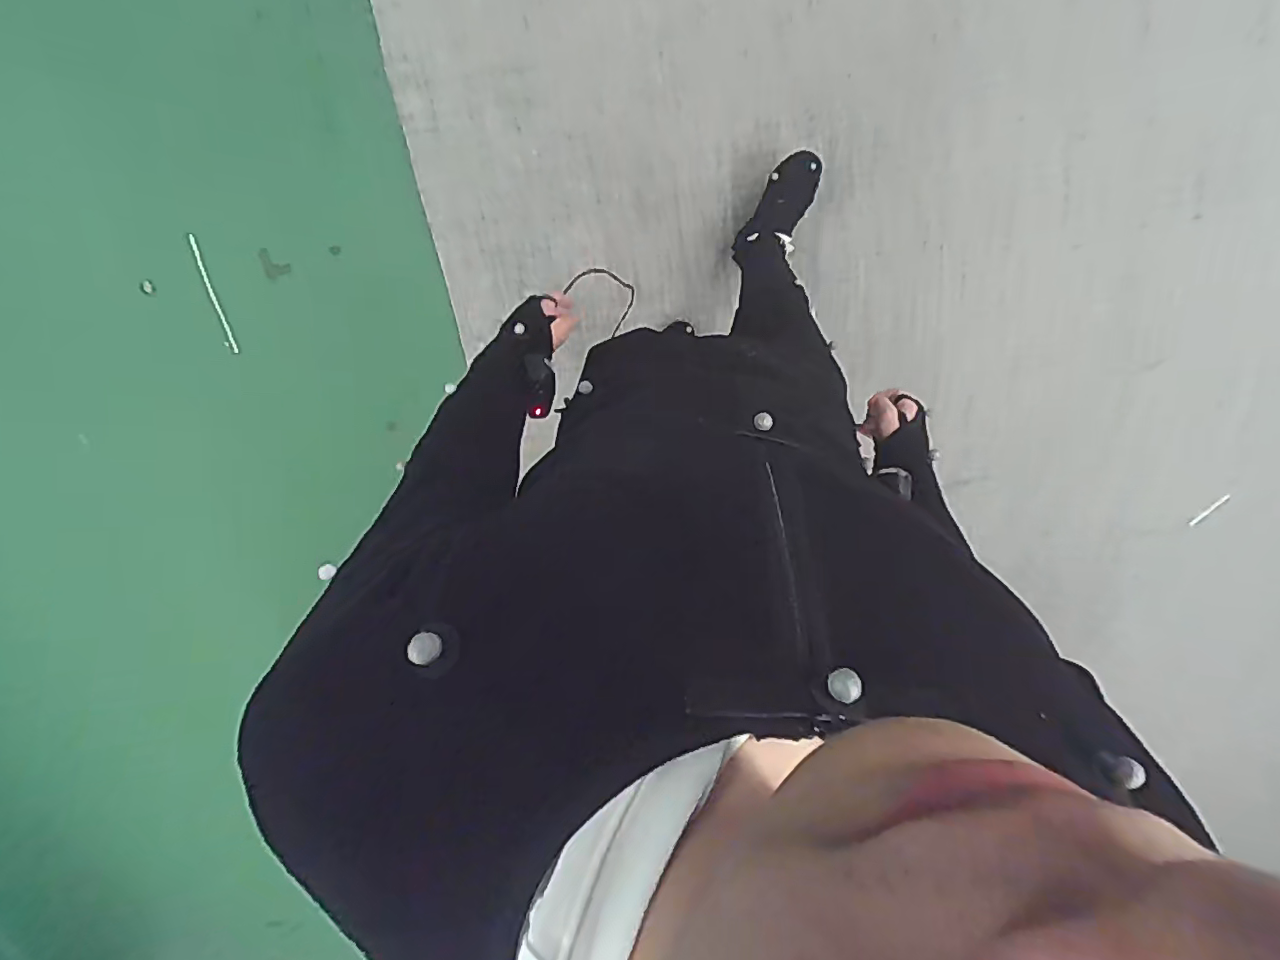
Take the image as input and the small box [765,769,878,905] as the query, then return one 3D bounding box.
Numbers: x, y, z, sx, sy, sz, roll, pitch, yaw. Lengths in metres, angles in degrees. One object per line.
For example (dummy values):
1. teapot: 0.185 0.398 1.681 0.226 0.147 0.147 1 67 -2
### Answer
1. small box: 0.365 0.717 1.100 0.179 0.176 0.168 -10 113 5
